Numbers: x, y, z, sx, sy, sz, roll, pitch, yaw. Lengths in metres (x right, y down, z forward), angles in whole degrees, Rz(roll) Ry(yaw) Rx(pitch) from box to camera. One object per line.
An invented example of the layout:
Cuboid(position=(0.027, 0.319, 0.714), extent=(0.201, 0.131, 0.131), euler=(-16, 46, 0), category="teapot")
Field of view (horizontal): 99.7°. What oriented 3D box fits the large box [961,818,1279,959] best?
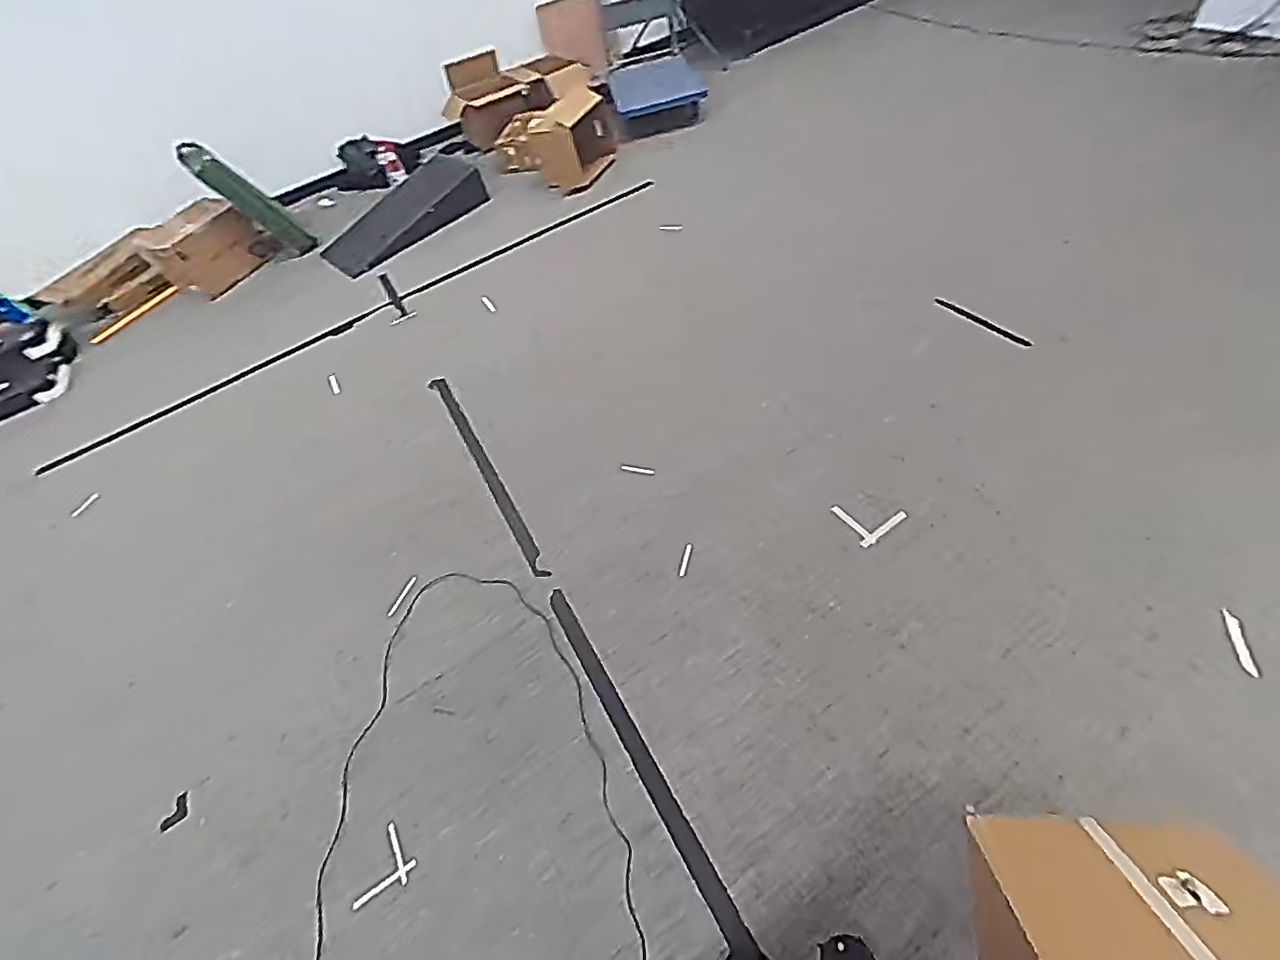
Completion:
Cuboid(position=(0.614, 0.658, 0.598), extent=(0.320, 0.408, 0.320), euler=(-6, 92, 12), category="large box")
